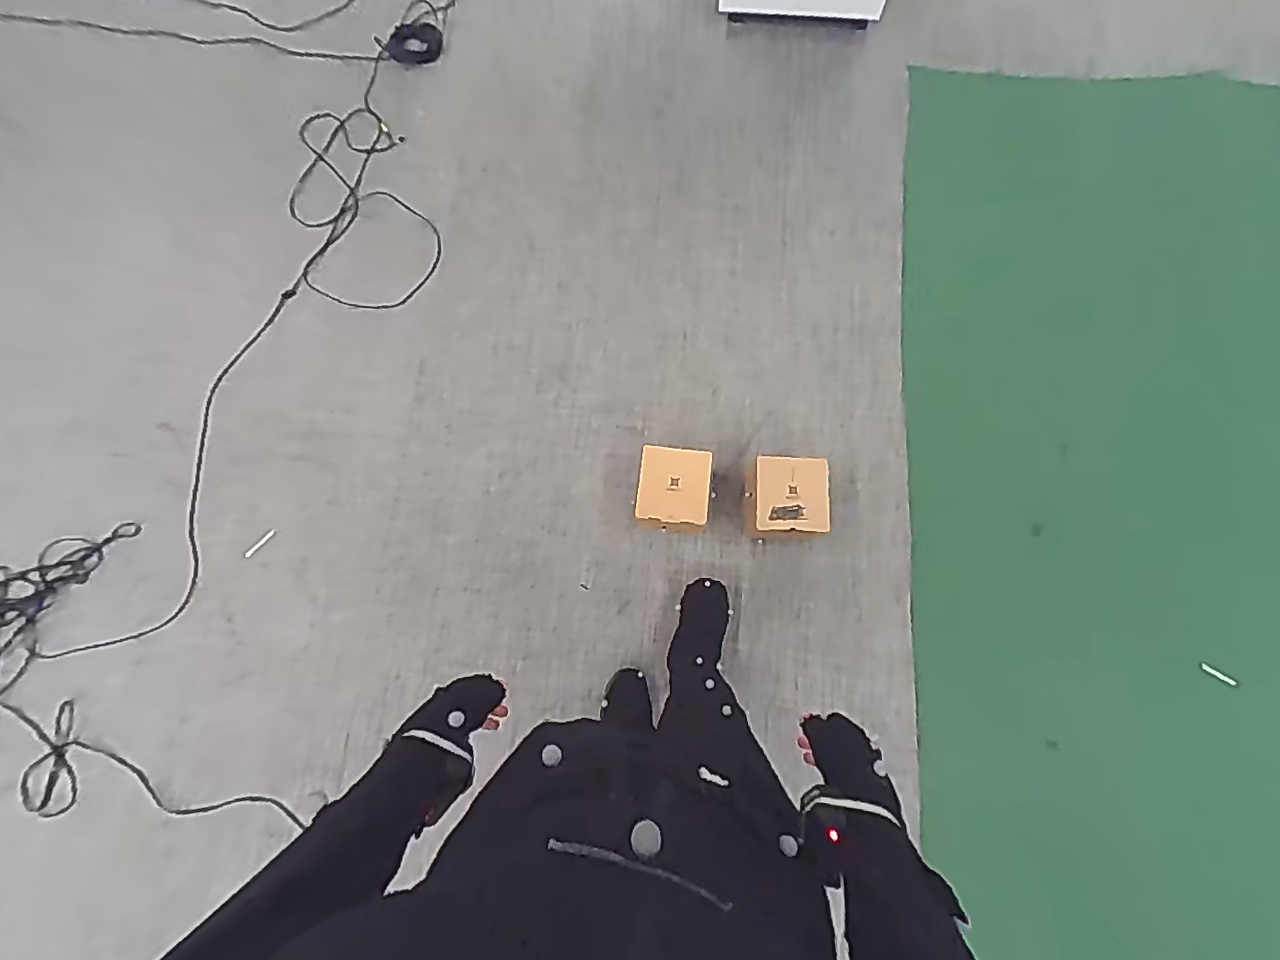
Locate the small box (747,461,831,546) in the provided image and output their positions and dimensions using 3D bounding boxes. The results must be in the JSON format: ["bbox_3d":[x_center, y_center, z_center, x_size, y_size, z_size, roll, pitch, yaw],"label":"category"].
[{"bbox_3d":[0.354,0.062,1.303,0.168,0.176,0.179,3,75,3],"label":"small box"}]

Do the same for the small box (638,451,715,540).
[{"bbox_3d":[0.086,0.042,1.320,0.168,0.176,0.179,6,76,4],"label":"small box"}]
